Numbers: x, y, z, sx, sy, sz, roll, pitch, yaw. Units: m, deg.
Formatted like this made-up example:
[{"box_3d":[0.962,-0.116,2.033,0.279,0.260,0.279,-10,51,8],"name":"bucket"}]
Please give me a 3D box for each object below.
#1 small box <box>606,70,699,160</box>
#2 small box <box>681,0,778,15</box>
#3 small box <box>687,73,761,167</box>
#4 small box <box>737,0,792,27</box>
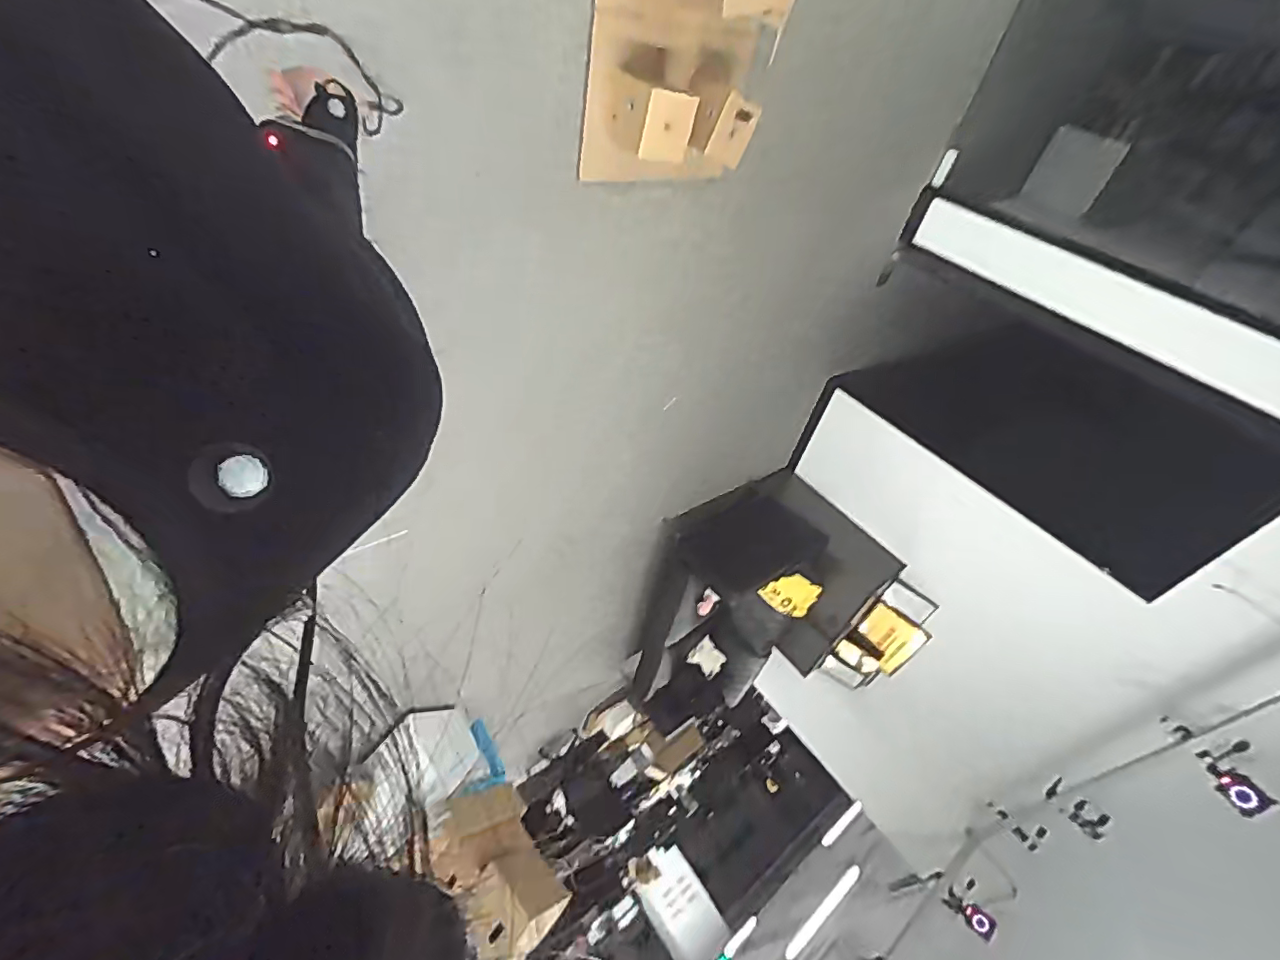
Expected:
[{"box_3d":[0.028,-1.024,1.517,0.179,0.176,0.168,-20,144,-36],"name":"small box"},{"box_3d":[0.204,-1.172,1.208,0.179,0.176,0.168,-30,148,-22],"name":"small box"},{"box_3d":[0.229,-1.104,1.655,0.168,0.176,0.179,-10,138,-45],"name":"small box"},{"box_3d":[0.311,-1.354,1.436,0.168,0.176,0.179,-18,142,-38],"name":"small box"}]
